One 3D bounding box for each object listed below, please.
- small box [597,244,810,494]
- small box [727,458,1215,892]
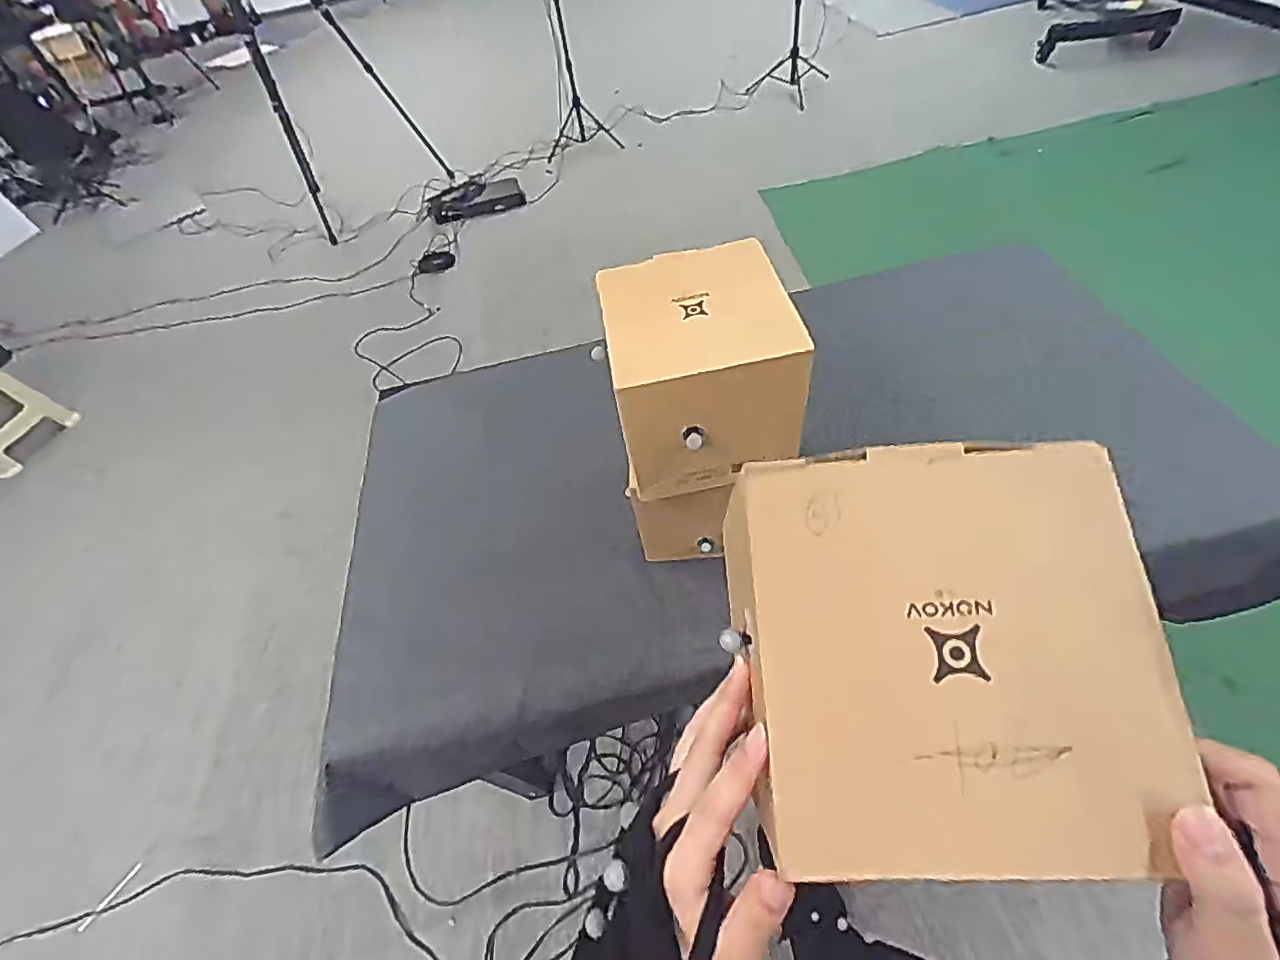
[{"bbox_3d":[0.059,-0.102,0.547,0.168,0.176,0.179,-11,52,1],"label":"small box"},{"bbox_3d":[0.141,0.098,0.310,0.168,0.176,0.179,-3,74,5],"label":"small box"}]
